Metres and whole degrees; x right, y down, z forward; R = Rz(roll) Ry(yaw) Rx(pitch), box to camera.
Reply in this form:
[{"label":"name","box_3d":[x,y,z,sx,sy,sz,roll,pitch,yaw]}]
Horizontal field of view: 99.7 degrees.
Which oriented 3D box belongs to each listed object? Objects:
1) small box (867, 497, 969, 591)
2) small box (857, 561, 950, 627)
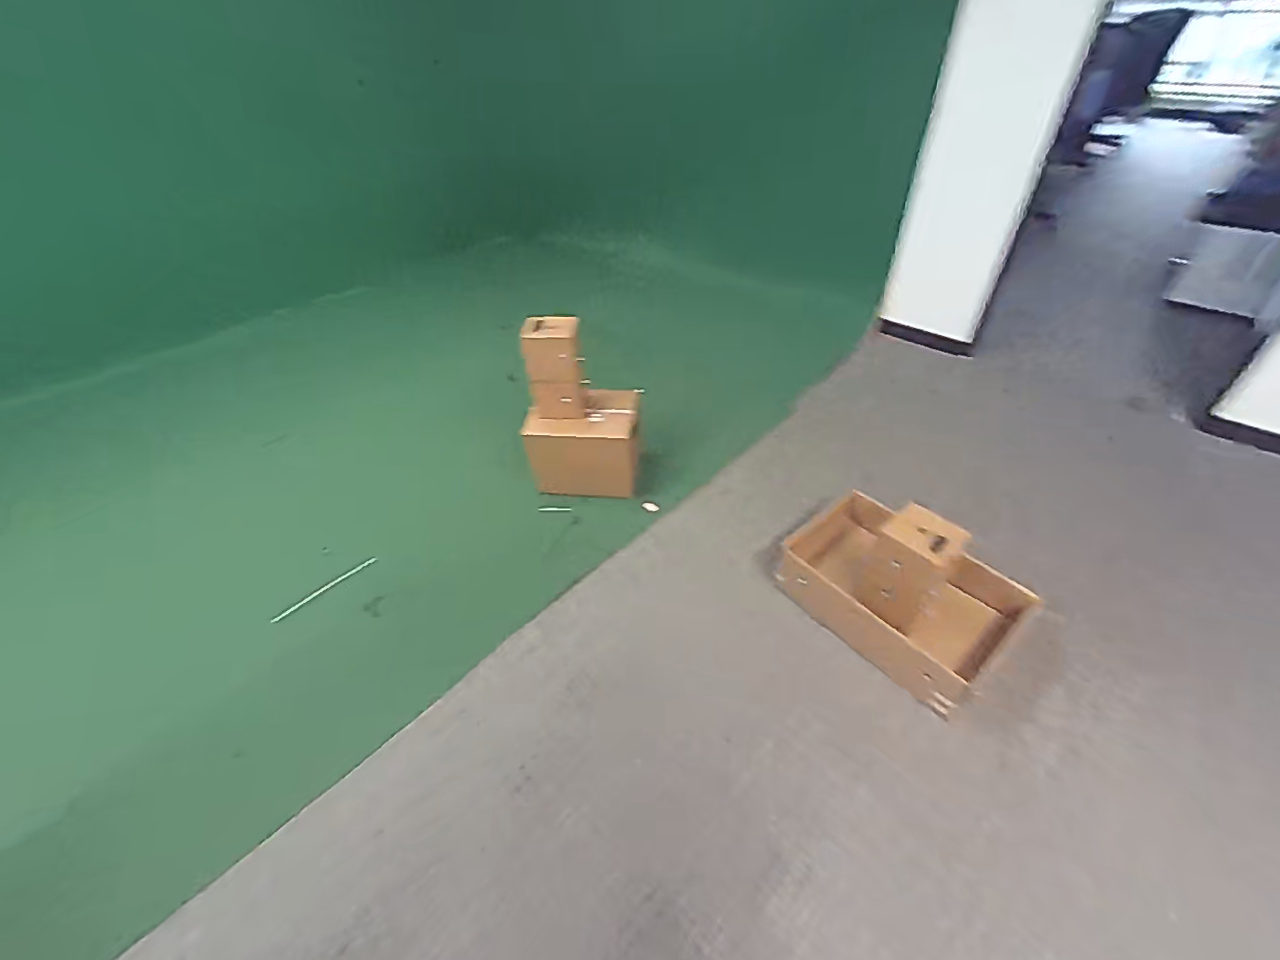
[{"label":"small box","box_3d":[0.772,0.186,1.515,0.168,0.176,0.179,-31,48,-25]},{"label":"small box","box_3d":[0.785,0.305,1.628,0.168,0.176,0.179,-32,50,-25]}]
